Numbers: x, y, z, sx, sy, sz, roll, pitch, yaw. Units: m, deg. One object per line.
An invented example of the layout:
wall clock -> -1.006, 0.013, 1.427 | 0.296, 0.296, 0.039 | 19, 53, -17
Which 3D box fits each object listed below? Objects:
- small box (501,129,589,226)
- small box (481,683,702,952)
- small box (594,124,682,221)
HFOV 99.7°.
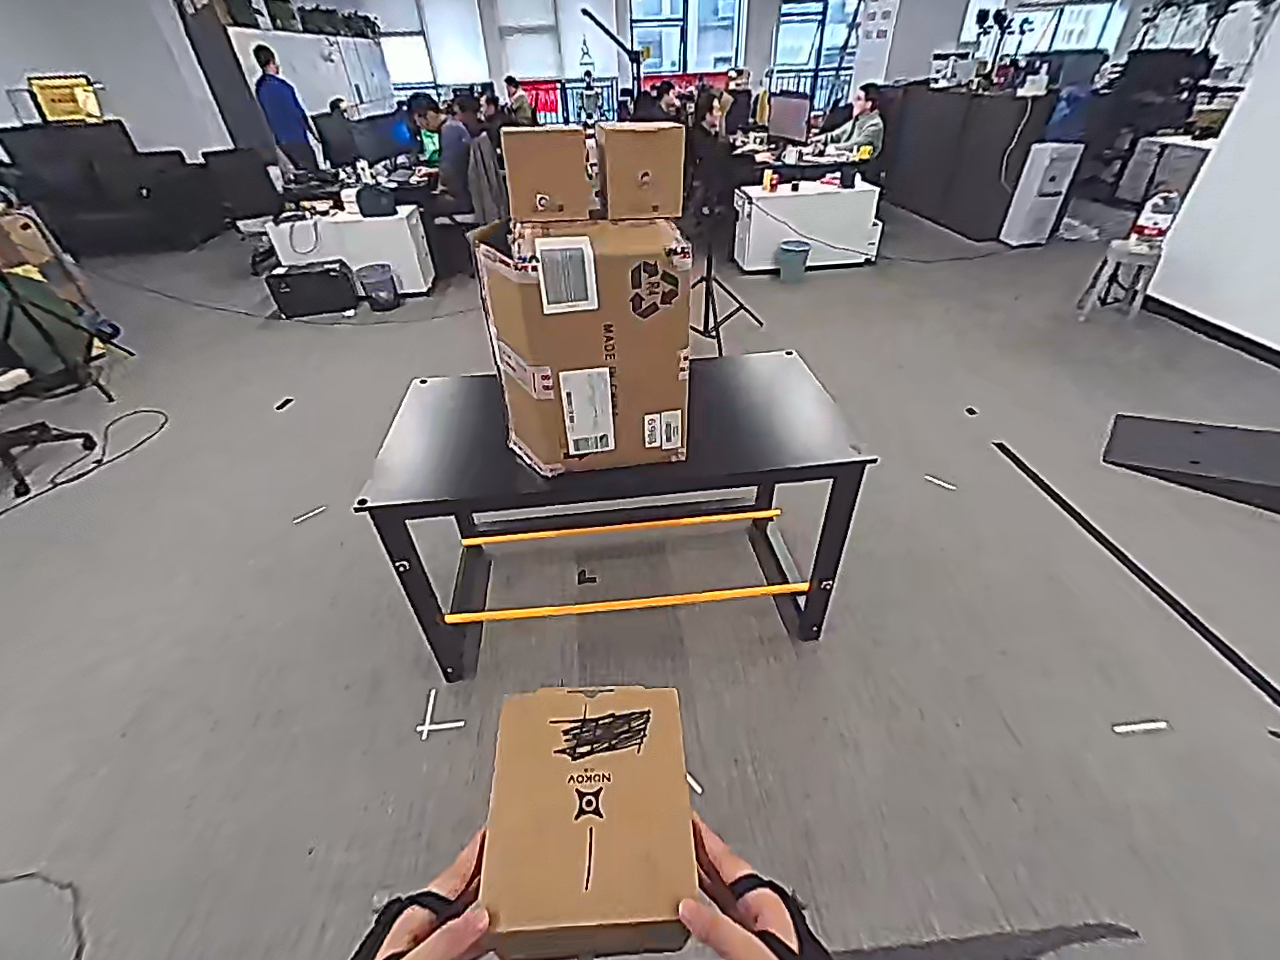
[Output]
small box -> -0.205, -0.657, 1.174 | 0.168, 0.176, 0.179 | -8, 36, -8
small box -> -0.043, 0.315, 0.510 | 0.168, 0.176, 0.179 | -1, 43, -4
small box -> -0.007, -0.677, 1.193 | 0.168, 0.176, 0.179 | -6, 38, -9
